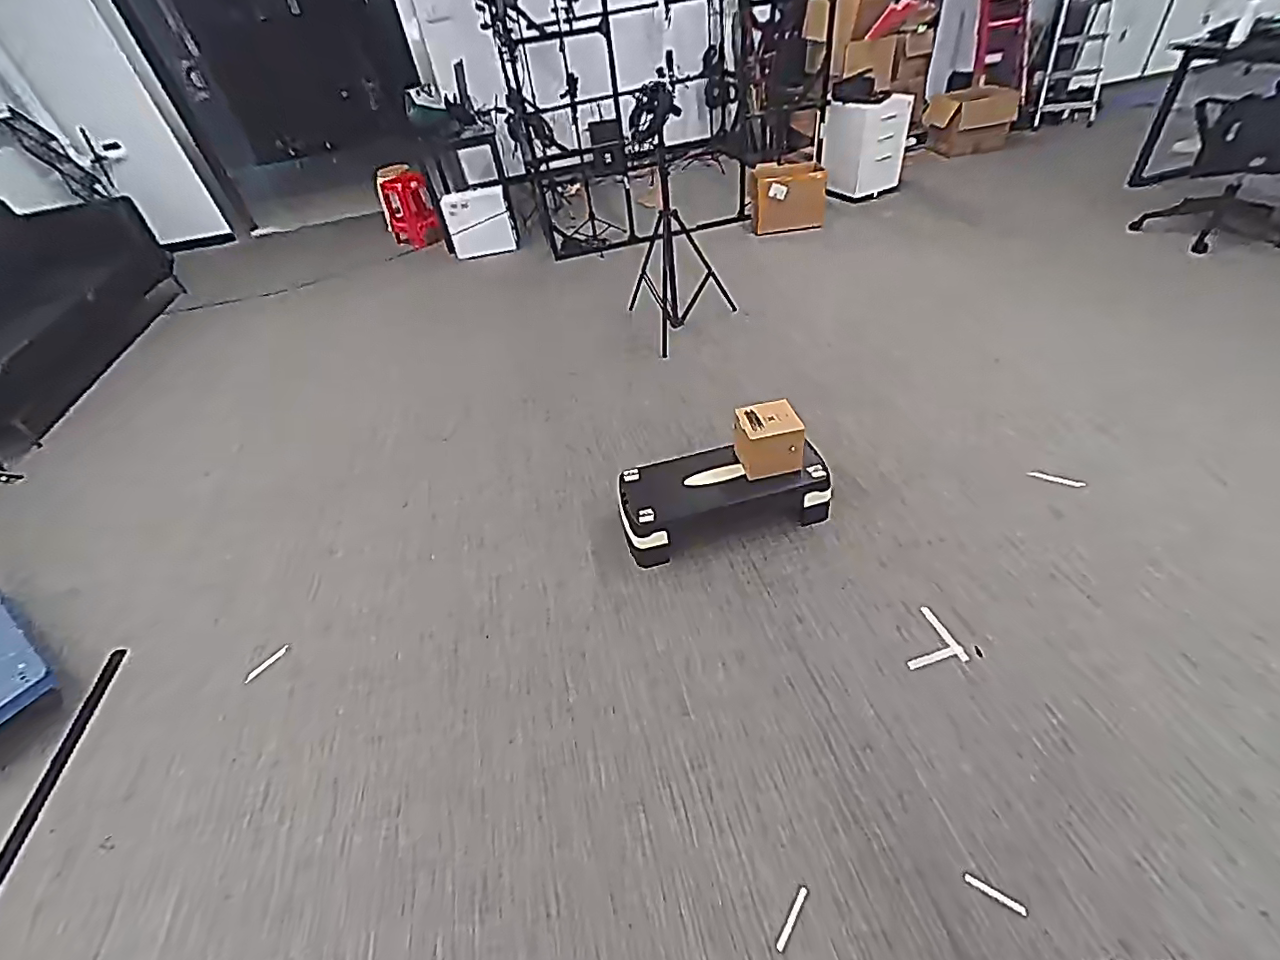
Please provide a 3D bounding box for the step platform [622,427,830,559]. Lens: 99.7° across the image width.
[{"bbox_3d":[0.282,0.034,1.836,0.684,0.204,0.286,-15,42,-5],"label":"step platform"}]
